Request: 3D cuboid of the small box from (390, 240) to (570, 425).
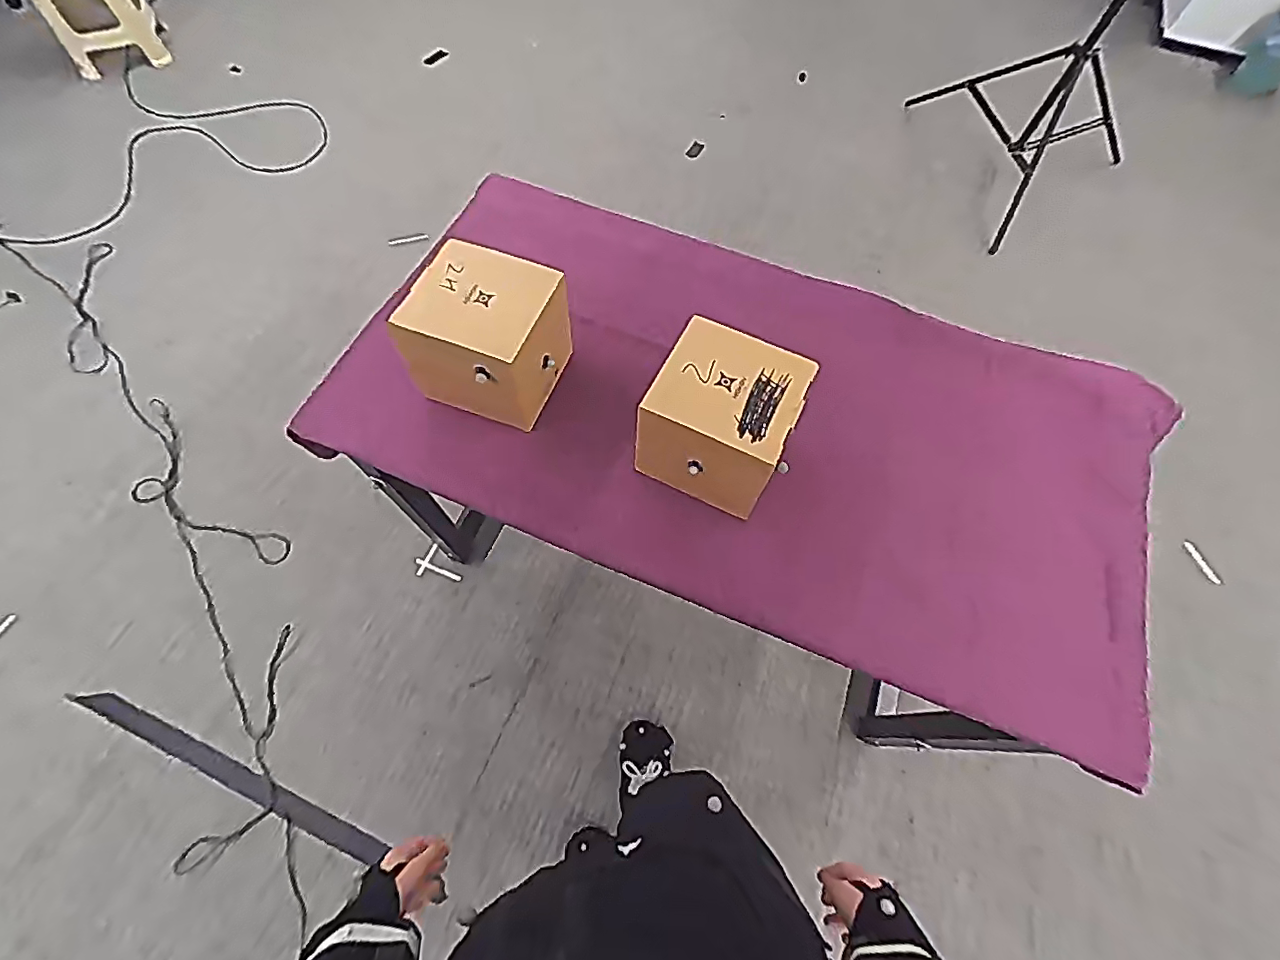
[{"bbox_3d":[-0.211,-0.201,0.775,0.179,0.176,0.168,19,64,7],"label":"small box"}]
